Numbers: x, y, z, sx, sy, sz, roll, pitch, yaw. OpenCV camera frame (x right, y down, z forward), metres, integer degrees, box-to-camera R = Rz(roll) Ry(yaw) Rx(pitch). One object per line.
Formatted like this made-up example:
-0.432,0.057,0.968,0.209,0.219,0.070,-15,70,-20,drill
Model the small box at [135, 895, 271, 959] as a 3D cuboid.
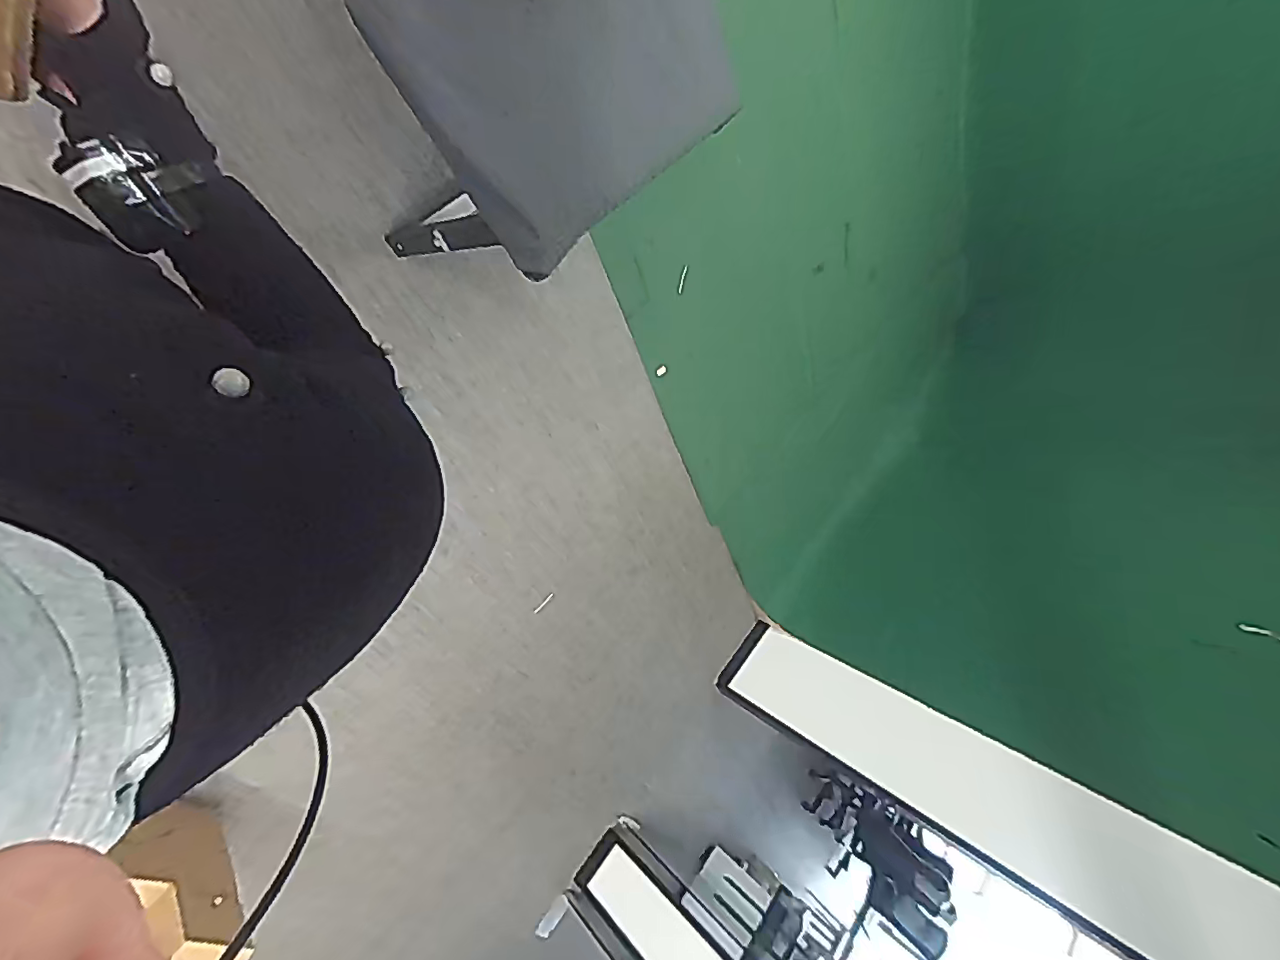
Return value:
-0.928,1.024,1.128,0.179,0.176,0.168,-54,135,-24,small box
